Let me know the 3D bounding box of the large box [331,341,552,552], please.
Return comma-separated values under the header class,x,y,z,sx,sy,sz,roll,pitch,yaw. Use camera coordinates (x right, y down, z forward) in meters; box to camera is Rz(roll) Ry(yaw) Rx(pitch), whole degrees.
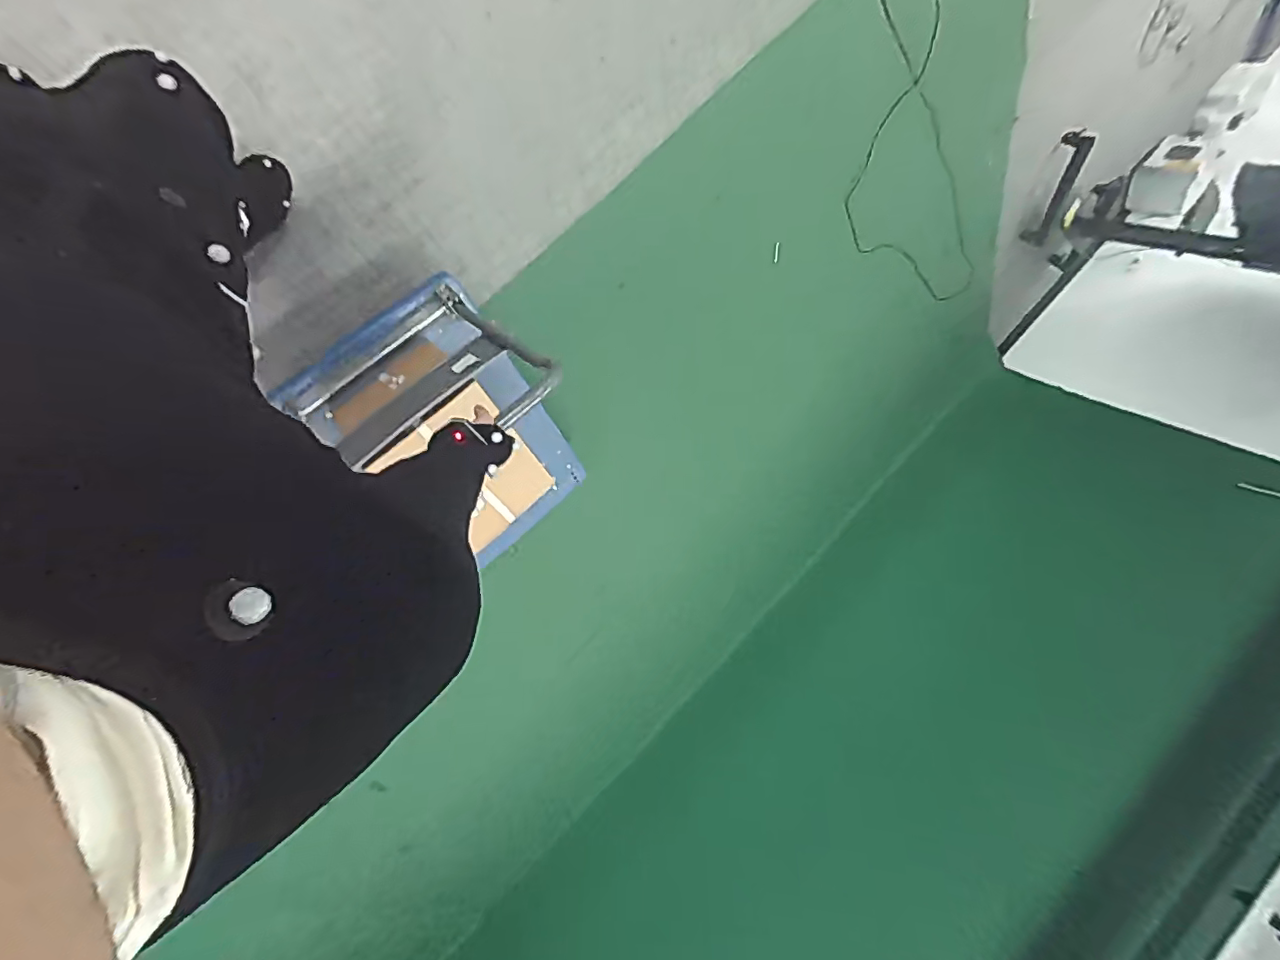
class,x,y,z,sx,sy,sz,roll,pitch,yaw
large box,-0.513,-0.086,1.430,0.320,0.320,0.408,-42,139,-10
